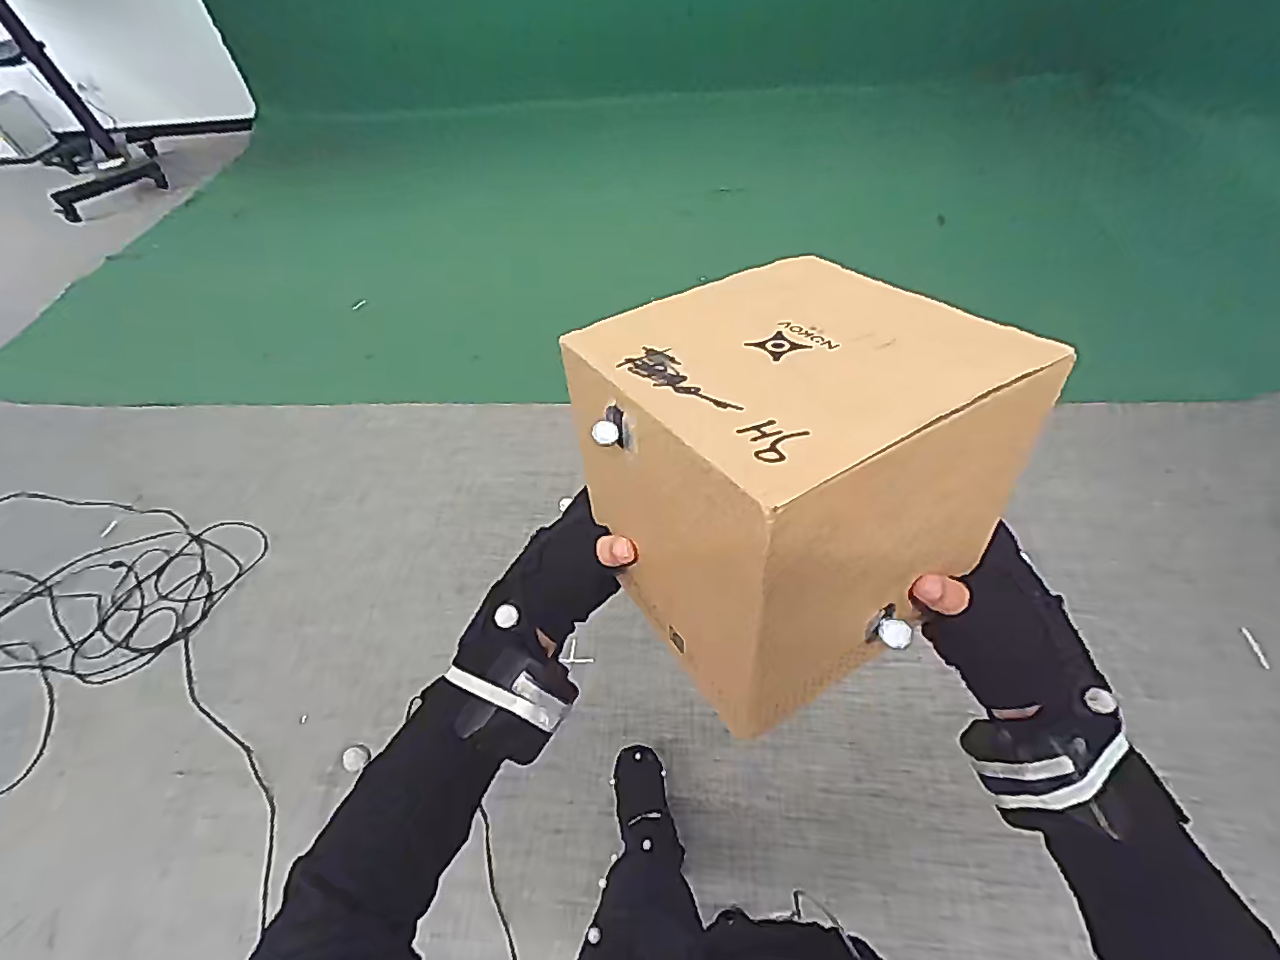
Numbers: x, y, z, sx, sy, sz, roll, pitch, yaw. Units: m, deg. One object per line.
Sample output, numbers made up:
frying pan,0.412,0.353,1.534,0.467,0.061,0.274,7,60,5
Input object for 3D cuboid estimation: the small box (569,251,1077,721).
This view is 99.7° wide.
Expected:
small box,0.079,-0.007,0.306,0.179,0.176,0.168,-23,43,-21
